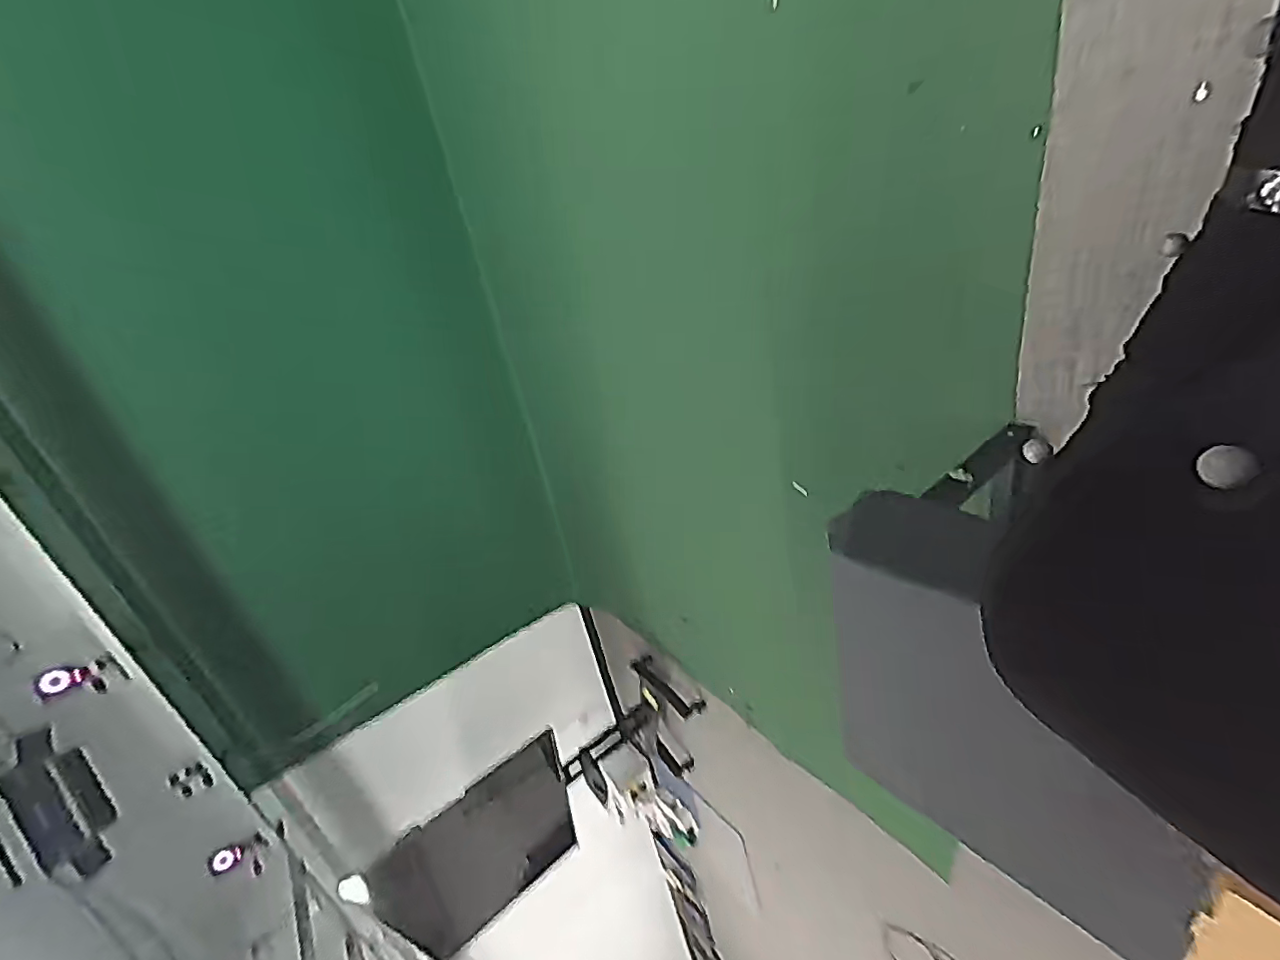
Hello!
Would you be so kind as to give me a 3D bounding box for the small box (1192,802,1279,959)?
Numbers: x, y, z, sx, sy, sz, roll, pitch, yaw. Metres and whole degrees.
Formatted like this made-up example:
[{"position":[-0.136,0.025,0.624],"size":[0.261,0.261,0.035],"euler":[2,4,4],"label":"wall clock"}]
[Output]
[{"position":[0.734,0.476,0.558],"size":[0.179,0.176,0.168],"euler":[24,134,50],"label":"small box"}]
